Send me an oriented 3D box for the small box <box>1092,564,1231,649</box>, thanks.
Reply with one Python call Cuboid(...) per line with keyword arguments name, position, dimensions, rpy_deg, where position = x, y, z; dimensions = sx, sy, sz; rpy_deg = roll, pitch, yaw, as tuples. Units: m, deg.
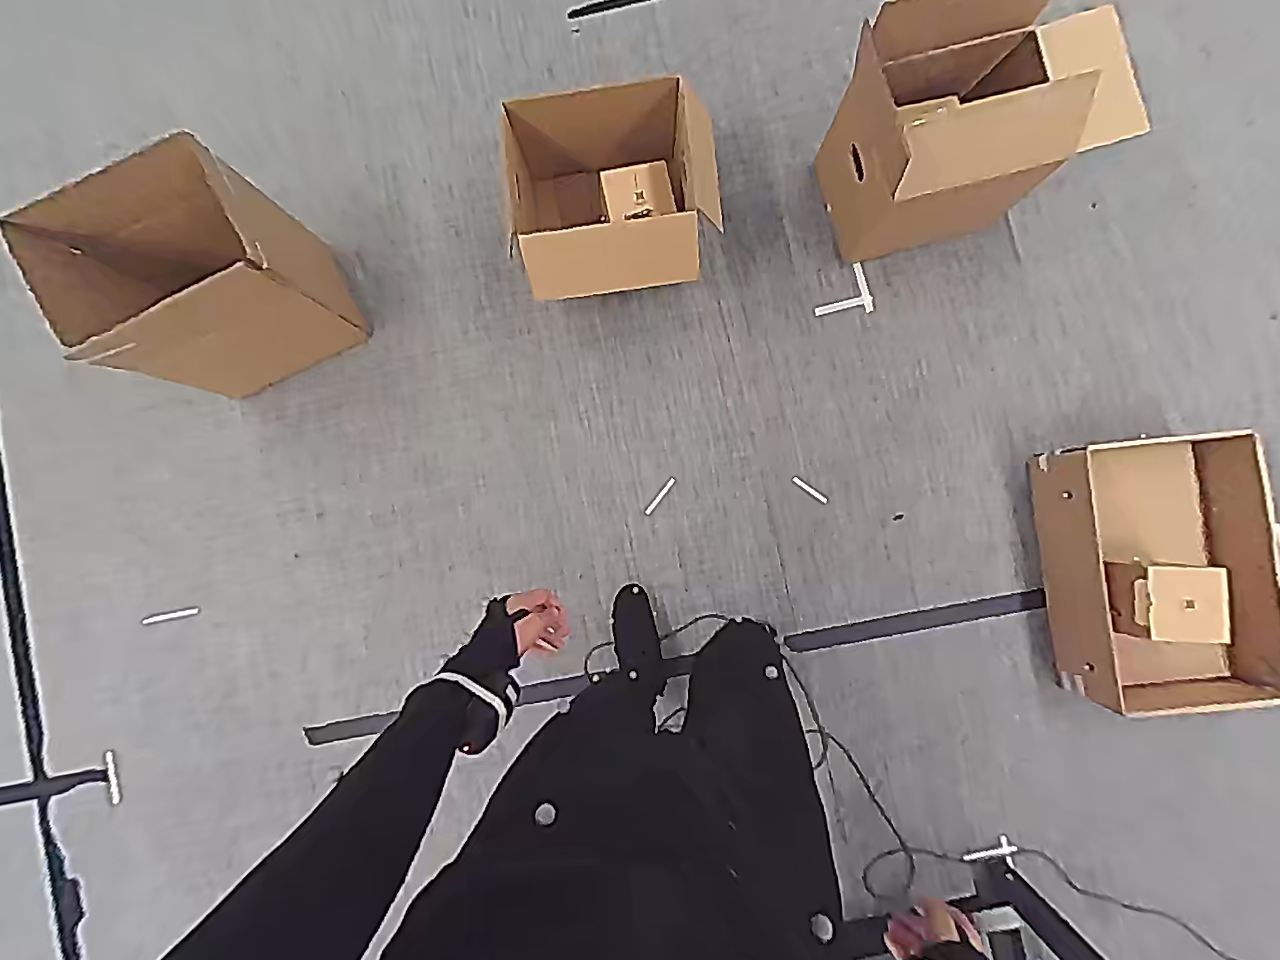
Cuboid(name="small box", position=(1.200, 0.287, 1.259), dimensions=(0.179, 0.176, 0.168), rpy_deg=(2, 87, 2))
